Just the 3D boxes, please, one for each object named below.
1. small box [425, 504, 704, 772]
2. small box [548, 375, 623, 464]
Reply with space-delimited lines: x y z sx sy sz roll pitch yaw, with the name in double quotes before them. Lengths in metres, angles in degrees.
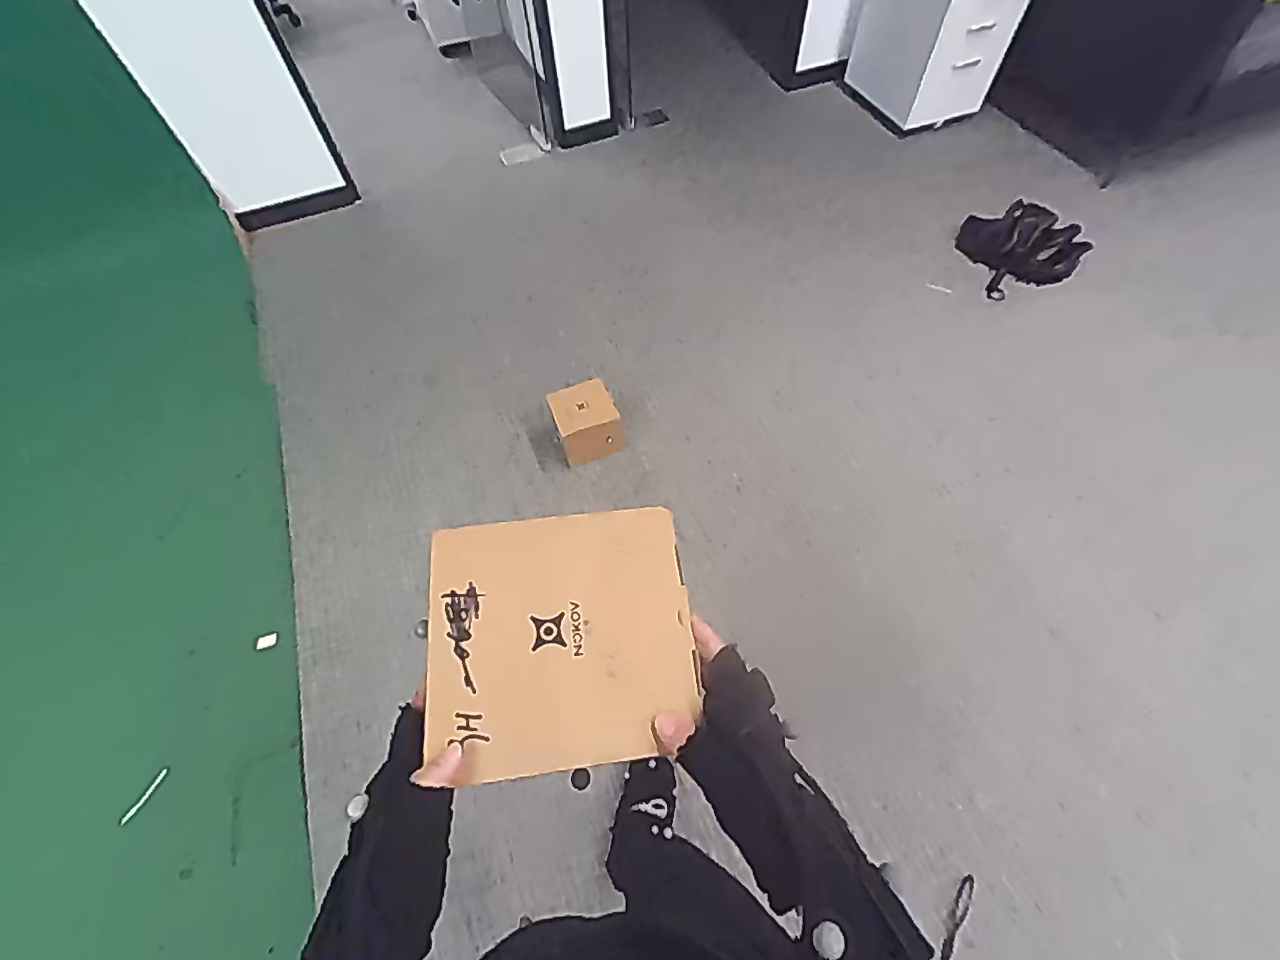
"small box" -0.059 0.131 0.440 0.179 0.176 0.168 -4 64 -7
"small box" -0.156 -0.175 1.608 0.179 0.176 0.168 -21 60 -8
